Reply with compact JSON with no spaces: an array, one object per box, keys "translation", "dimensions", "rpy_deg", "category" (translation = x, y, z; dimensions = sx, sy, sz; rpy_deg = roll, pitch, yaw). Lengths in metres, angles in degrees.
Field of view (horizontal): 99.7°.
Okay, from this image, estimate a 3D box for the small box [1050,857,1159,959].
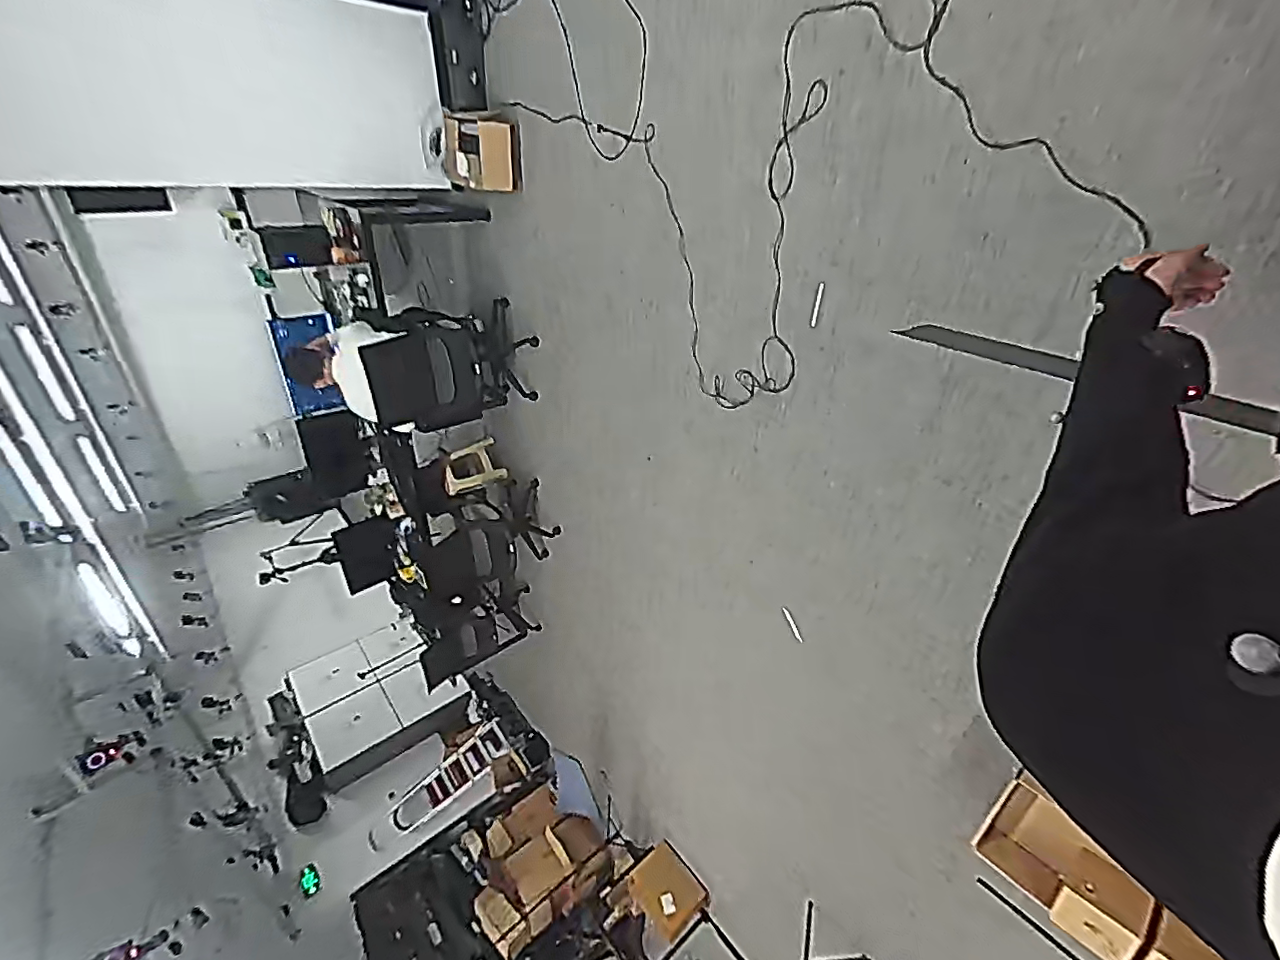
[{"translation":[1.326,1.227,1.544],"dimensions":[0.179,0.176,0.168],"rpy_deg":[27,128,44],"category":"small box"}]
